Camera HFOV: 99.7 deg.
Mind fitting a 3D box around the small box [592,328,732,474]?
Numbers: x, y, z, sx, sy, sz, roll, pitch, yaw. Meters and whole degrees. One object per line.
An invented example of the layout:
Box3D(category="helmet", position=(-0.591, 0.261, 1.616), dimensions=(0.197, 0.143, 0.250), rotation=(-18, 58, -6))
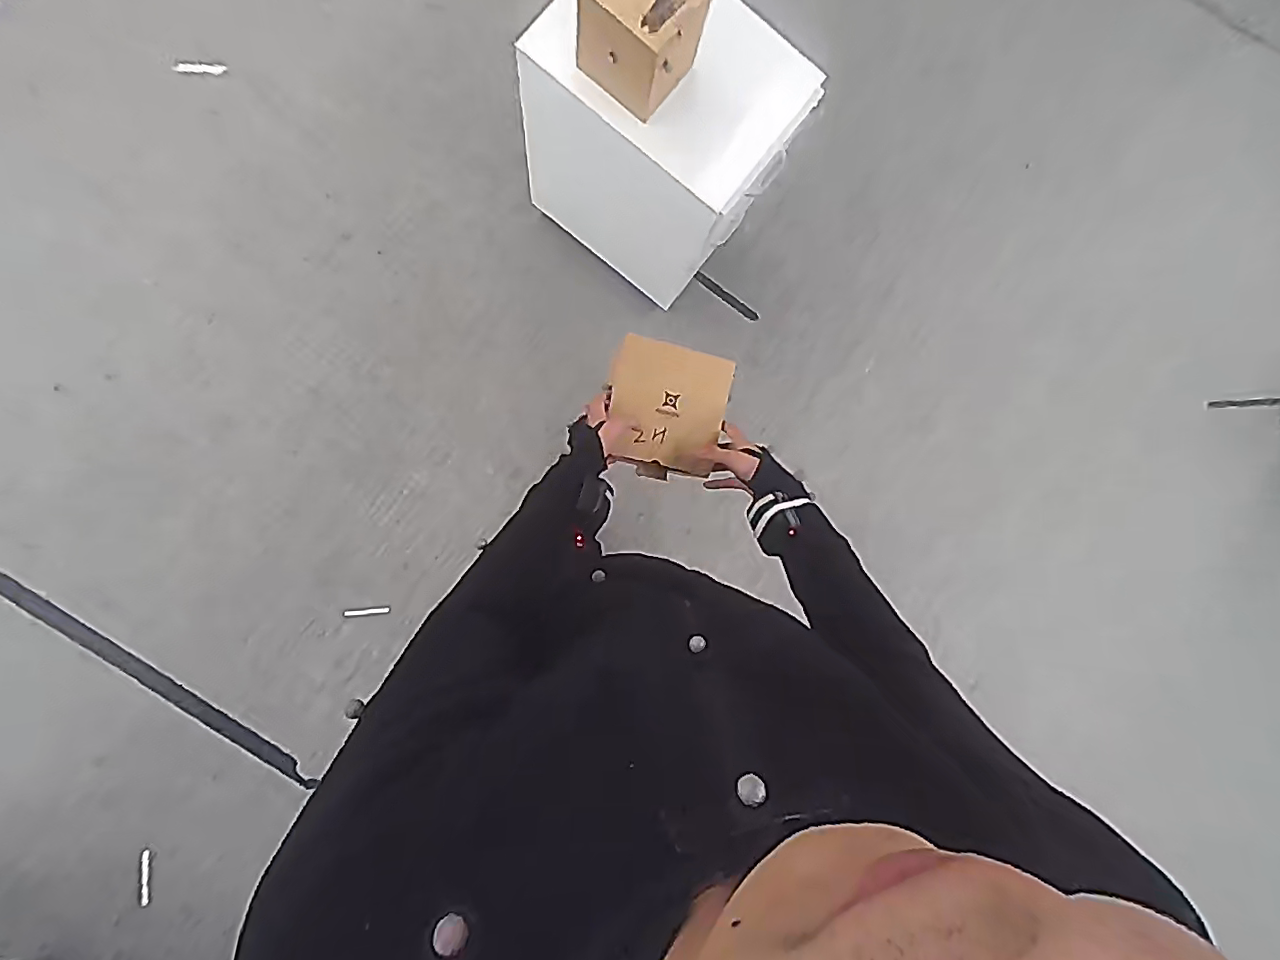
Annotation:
Box3D(category="small box", position=(0.024, -0.114, 0.845), dimensions=(0.168, 0.176, 0.179), rotation=(13, 90, -9))
